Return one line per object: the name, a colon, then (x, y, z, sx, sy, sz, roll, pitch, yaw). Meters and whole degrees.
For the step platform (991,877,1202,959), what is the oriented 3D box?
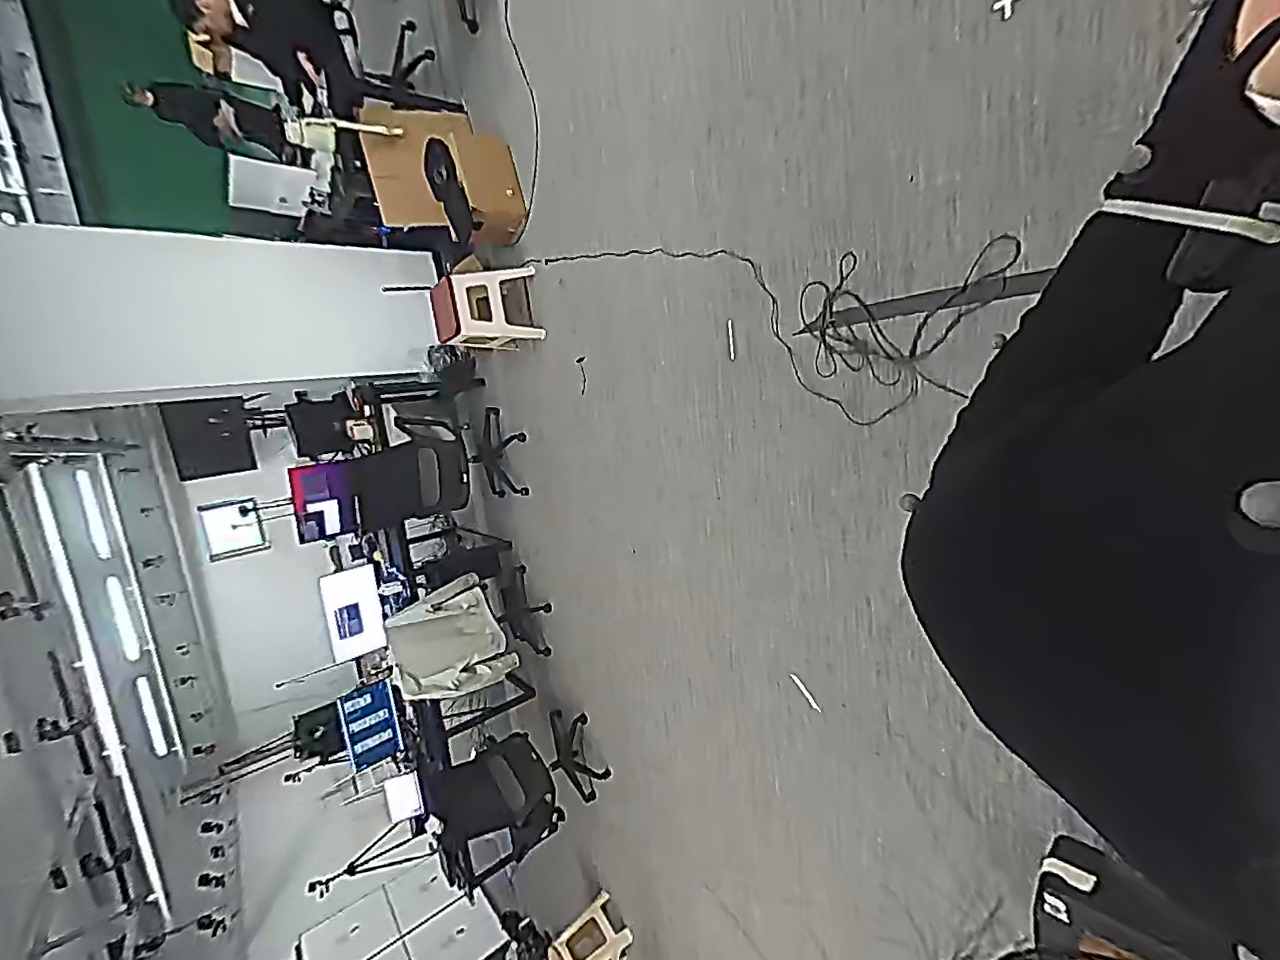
step platform: (1.073, 1.088, 1.004, 0.684, 0.204, 0.286, 2, 104, 53)
